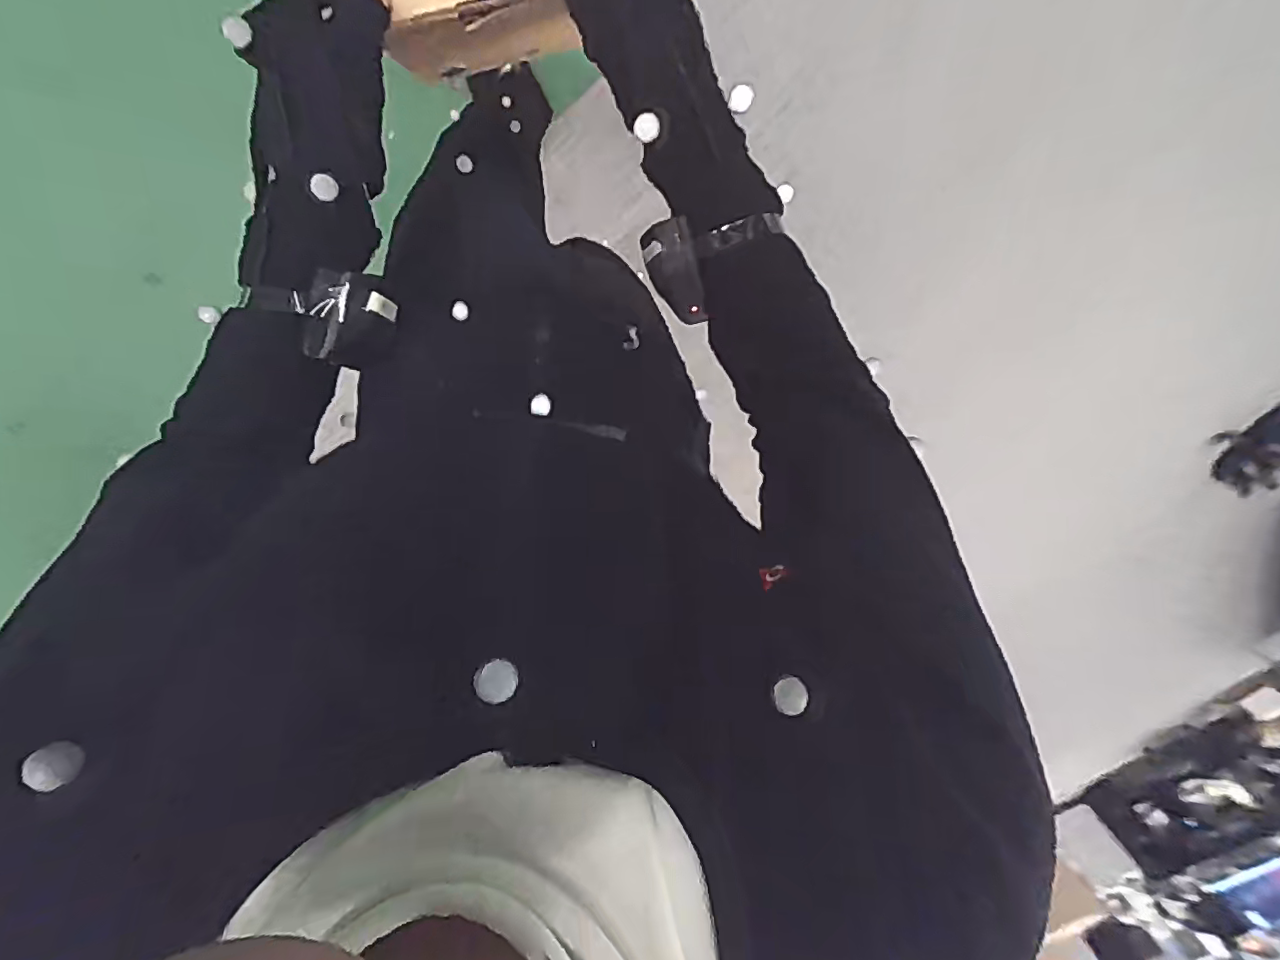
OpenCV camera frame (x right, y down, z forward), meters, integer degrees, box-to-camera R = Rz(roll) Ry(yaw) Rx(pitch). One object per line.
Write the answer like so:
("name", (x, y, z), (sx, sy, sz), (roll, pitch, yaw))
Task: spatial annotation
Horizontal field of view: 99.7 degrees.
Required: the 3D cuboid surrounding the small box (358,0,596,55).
("small box", (-0.125, -0.425, 0.371), (0.168, 0.176, 0.179), (-15, 117, 0))
